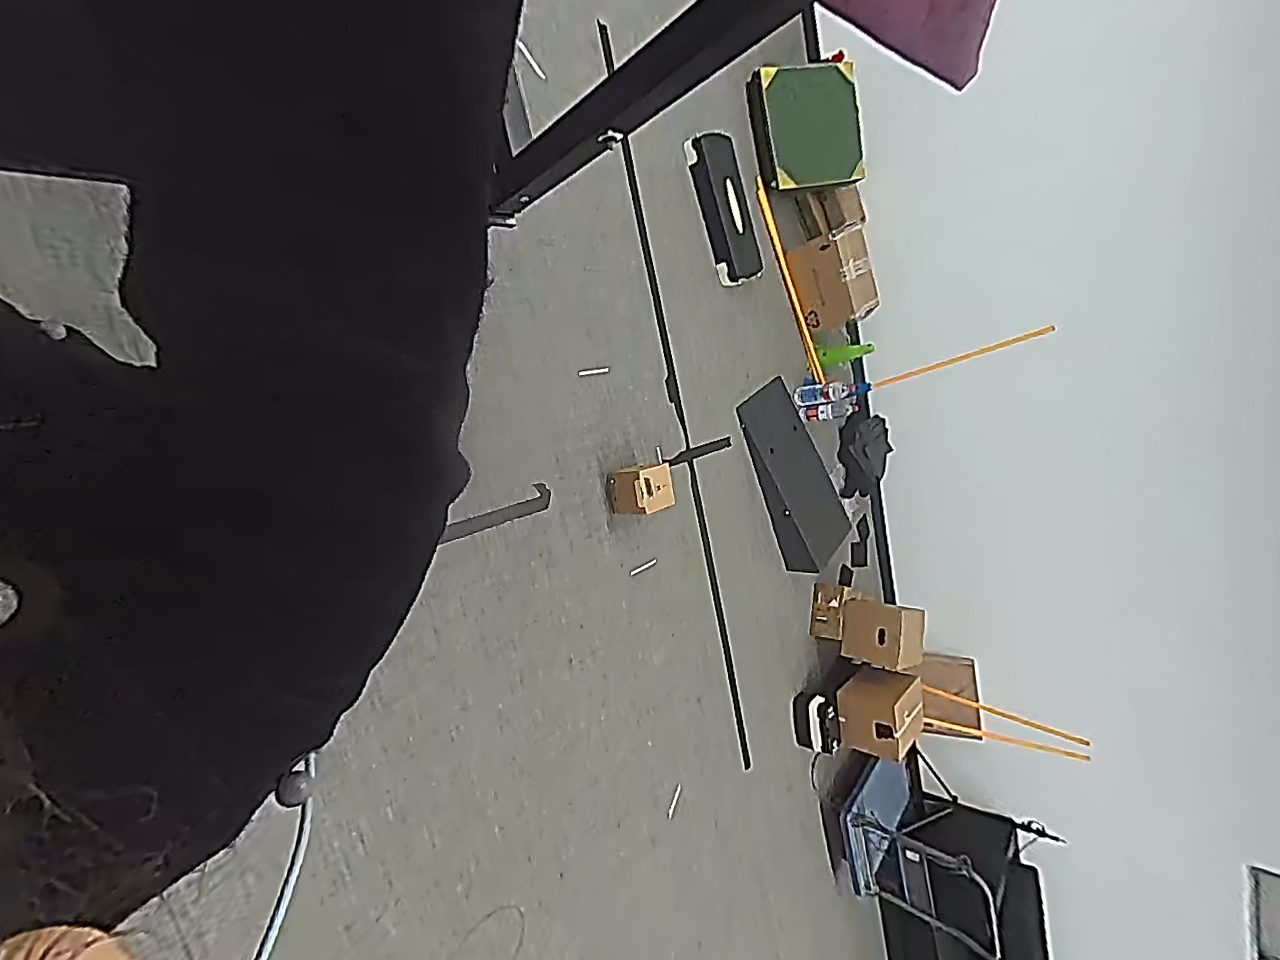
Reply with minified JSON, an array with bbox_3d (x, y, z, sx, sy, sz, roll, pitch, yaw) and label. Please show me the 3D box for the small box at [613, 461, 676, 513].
[{"bbox_3d":[0.011,0.028,2.071,0.179,0.176,0.168,-17,101,-45],"label":"small box"}]
